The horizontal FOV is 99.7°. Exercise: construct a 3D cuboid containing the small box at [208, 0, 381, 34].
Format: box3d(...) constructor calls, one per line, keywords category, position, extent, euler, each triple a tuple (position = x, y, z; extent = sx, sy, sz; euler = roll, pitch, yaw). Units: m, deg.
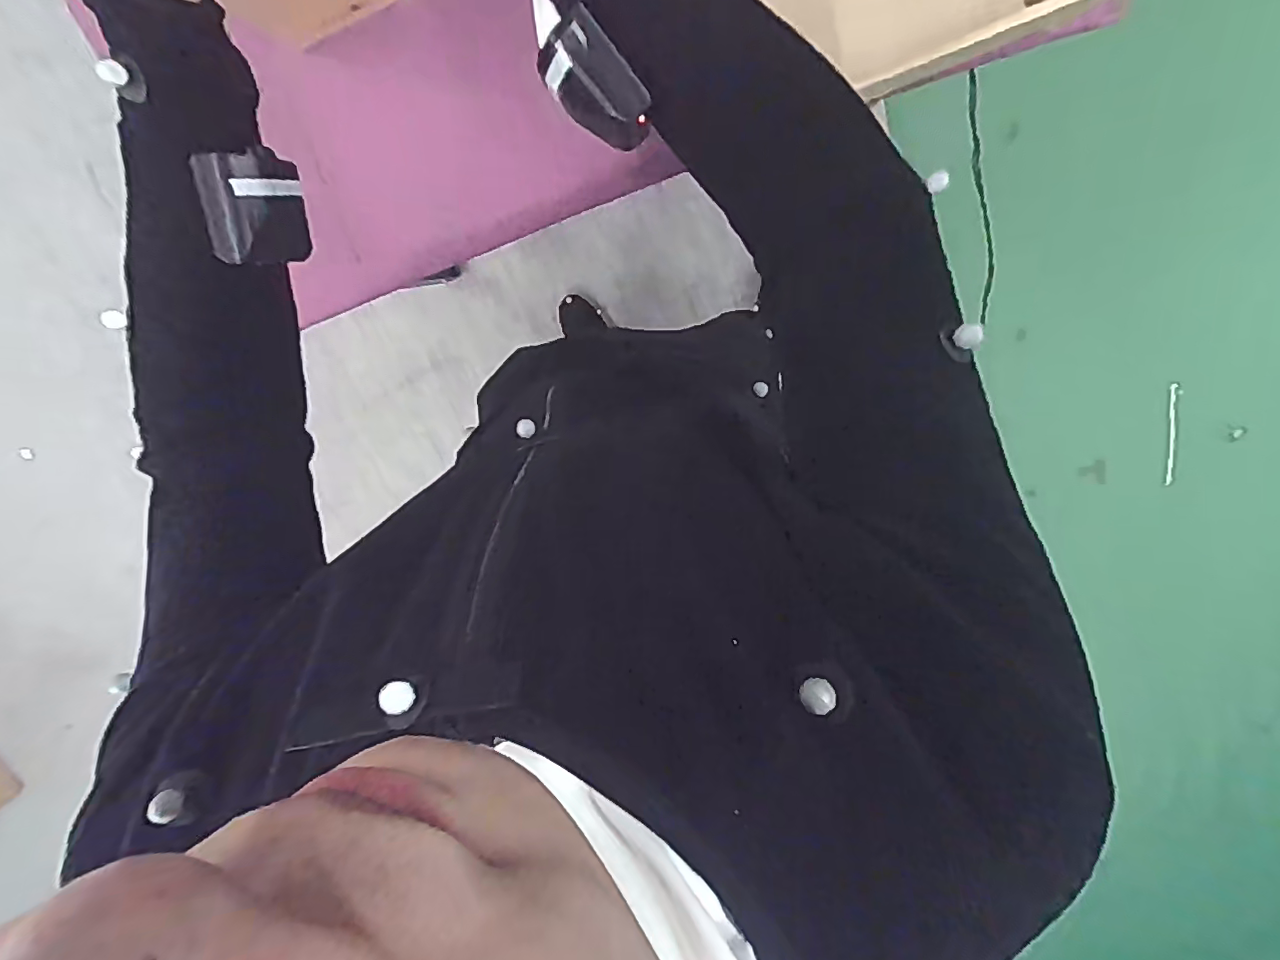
box3d(category="small box", position=(-0.399, -0.621, 0.576), extent=(0.168, 0.176, 0.179), euler=(-17, 111, 9))
